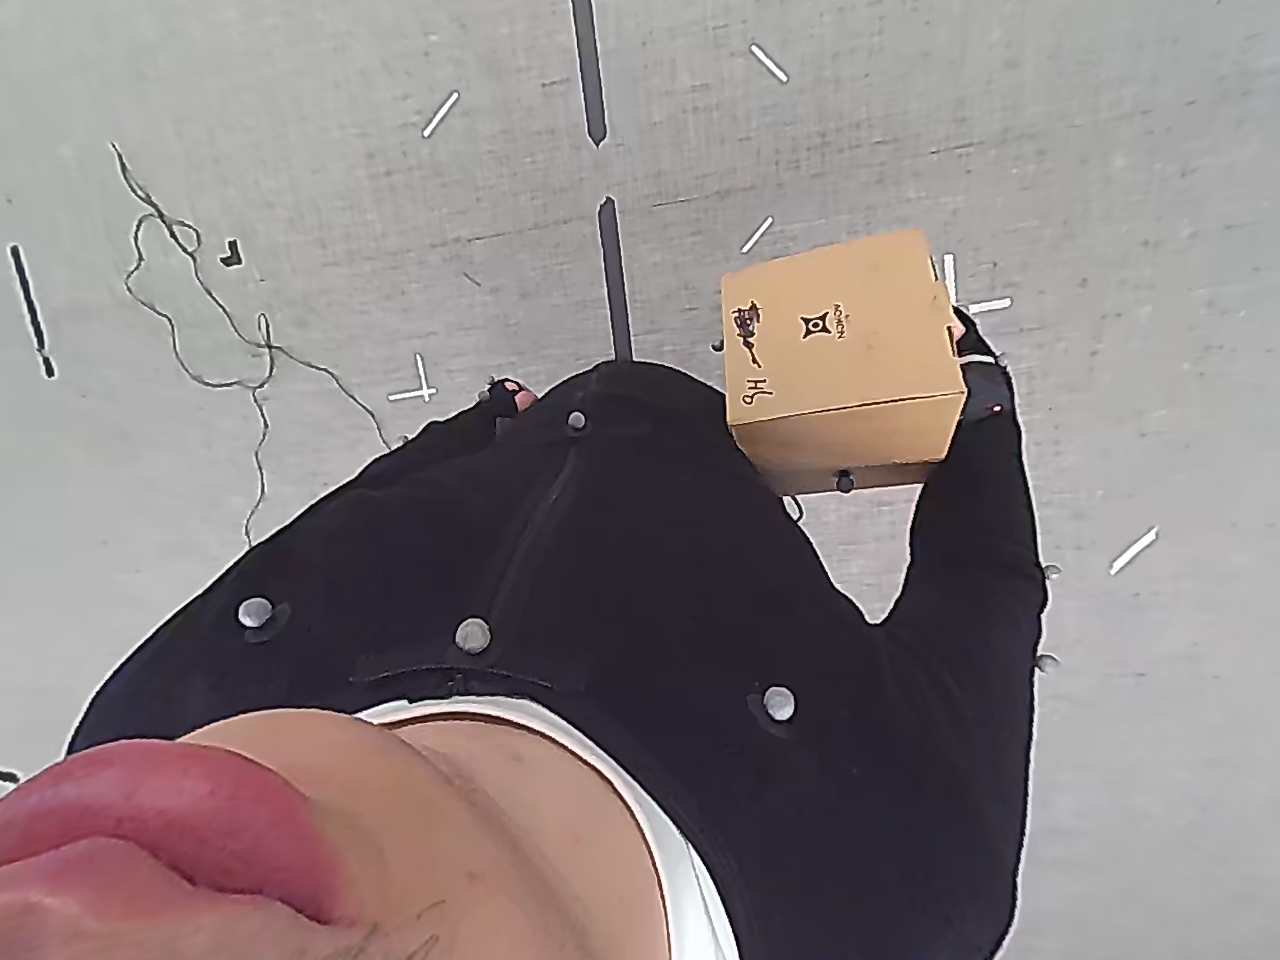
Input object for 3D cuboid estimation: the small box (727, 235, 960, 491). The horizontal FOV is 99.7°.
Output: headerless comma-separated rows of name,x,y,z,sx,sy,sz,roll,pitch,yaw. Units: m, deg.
small box,0.188,-0.099,0.531,0.179,0.176,0.168,-6,64,19
